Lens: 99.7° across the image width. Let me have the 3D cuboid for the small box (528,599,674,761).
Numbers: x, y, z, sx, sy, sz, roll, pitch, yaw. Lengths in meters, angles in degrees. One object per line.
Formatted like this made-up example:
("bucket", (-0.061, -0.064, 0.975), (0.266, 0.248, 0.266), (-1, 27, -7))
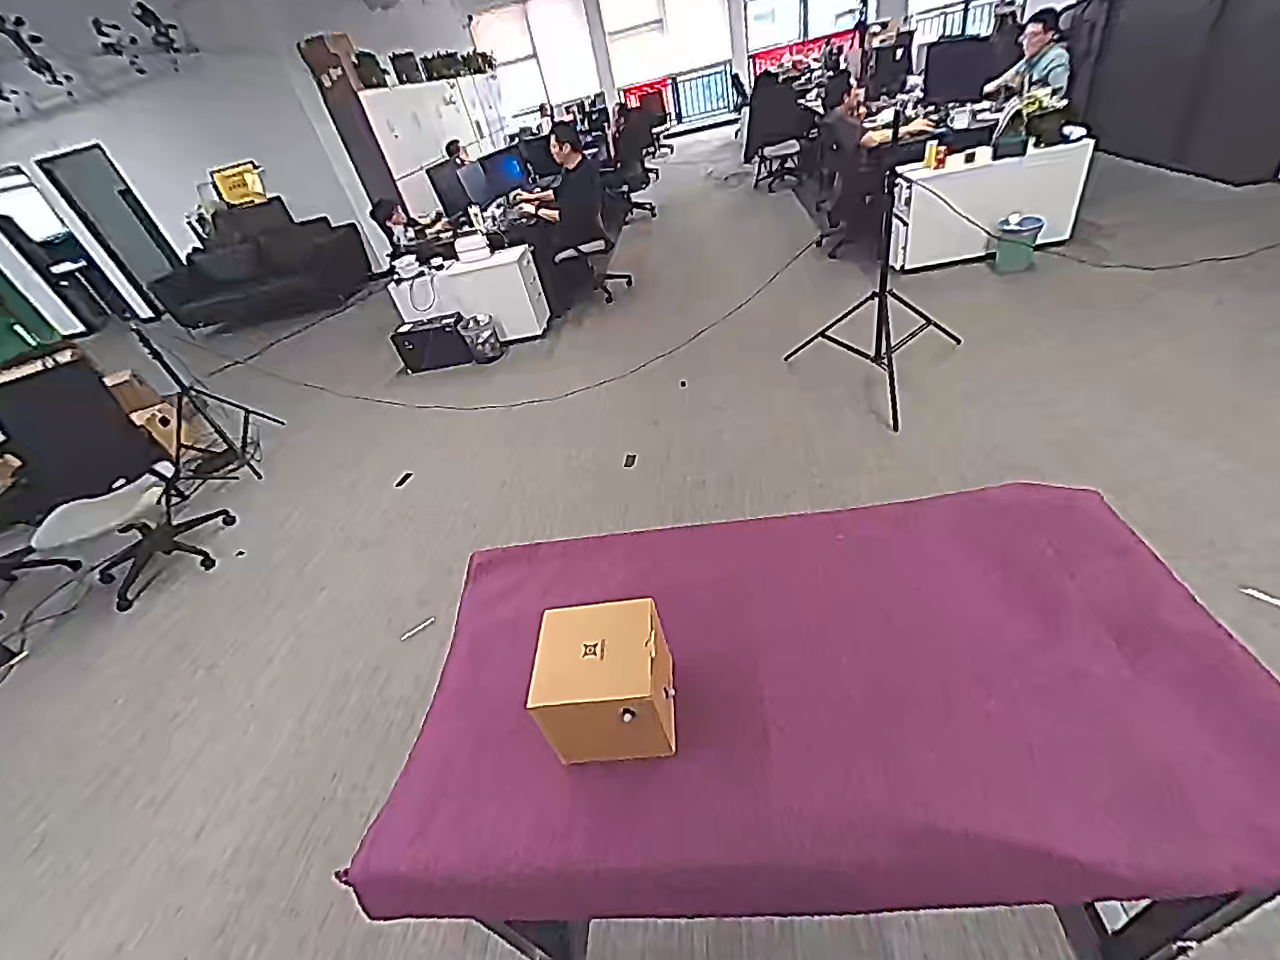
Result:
("small box", (-0.049, 0.308, 0.825), (0.179, 0.176, 0.168), (-8, 37, 7))
